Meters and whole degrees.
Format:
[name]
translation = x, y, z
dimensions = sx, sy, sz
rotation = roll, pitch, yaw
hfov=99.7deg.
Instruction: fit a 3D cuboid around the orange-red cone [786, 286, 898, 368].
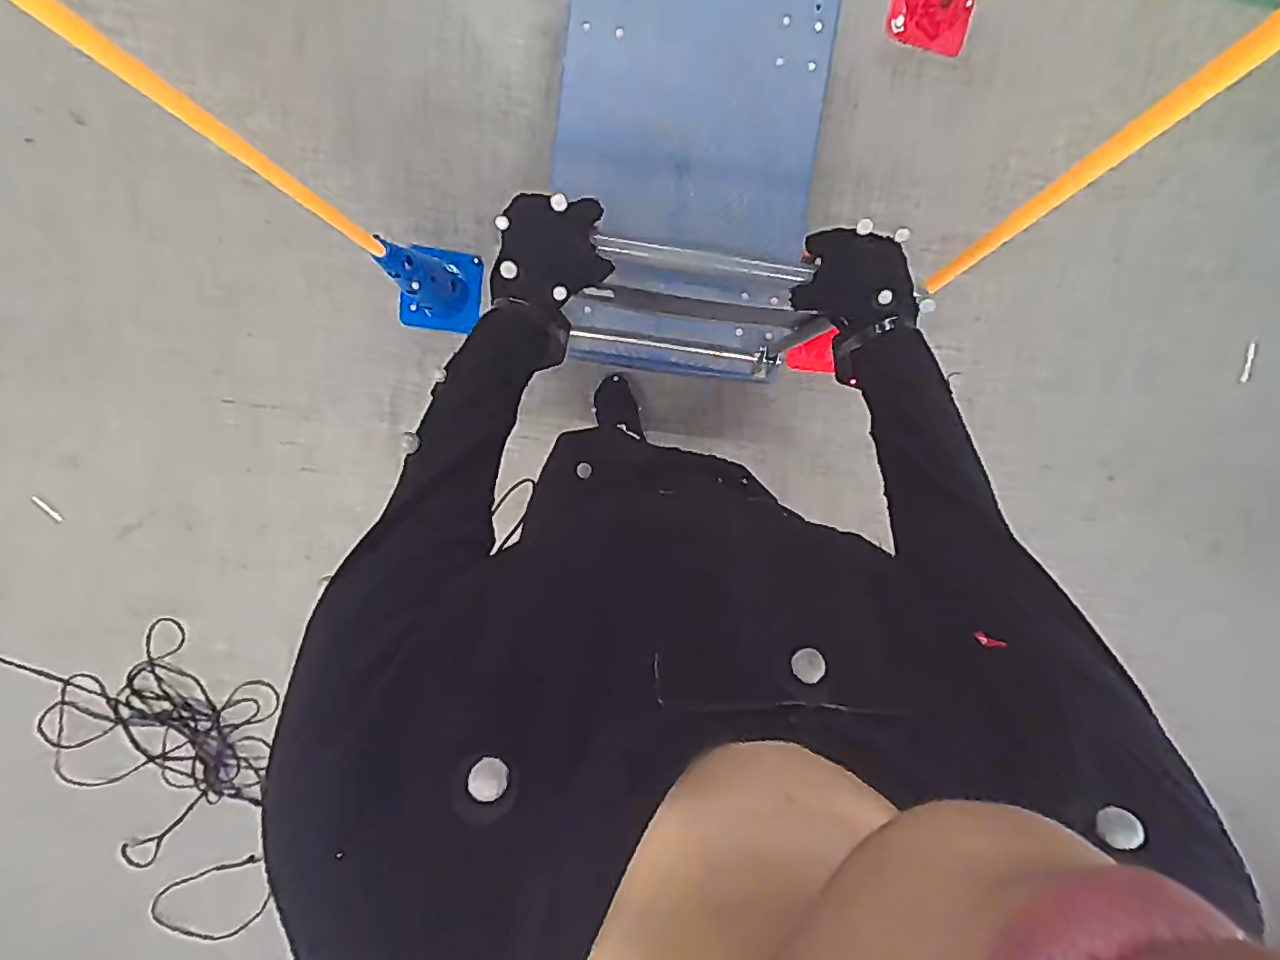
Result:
[orange-red cone]
translation = 0.498, -0.382, 1.264
dimensions = 0.199, 0.360, 0.198
rotation = 7, 97, -2
